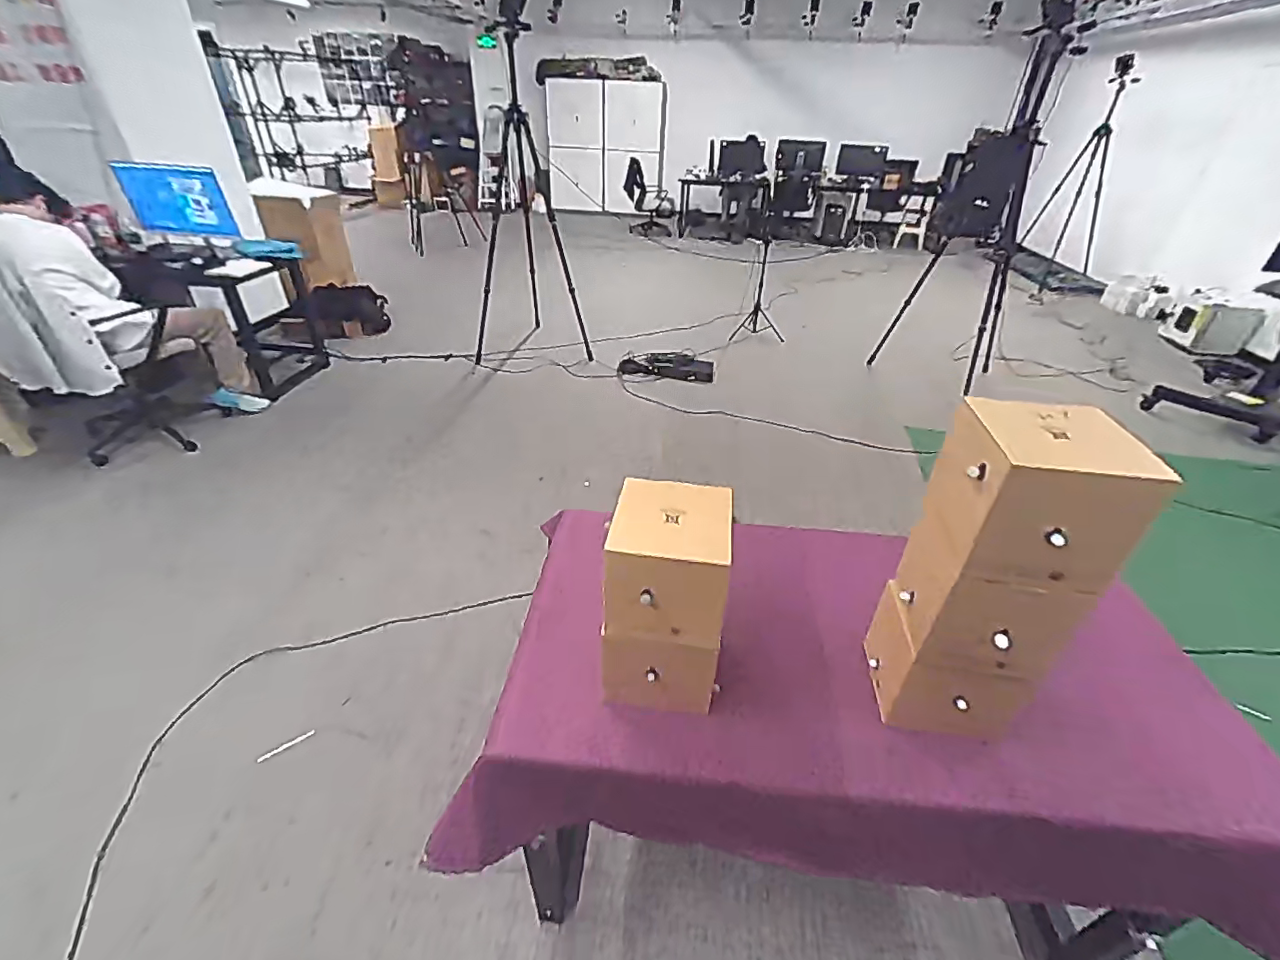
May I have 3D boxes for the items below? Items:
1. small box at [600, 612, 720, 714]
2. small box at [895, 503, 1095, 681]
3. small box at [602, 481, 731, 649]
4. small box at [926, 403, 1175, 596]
[{"bbox_3d":[0.034,0.259,0.890,0.179,0.176,0.168,5,34,5],"label":"small box"},{"bbox_3d":[0.485,0.158,0.773,0.168,0.176,0.179,8,35,9],"label":"small box"},{"bbox_3d":[0.043,0.123,0.800,0.168,0.176,0.179,6,33,6],"label":"small box"},{"bbox_3d":[0.487,0.021,0.680,0.168,0.176,0.179,7,34,8],"label":"small box"}]
